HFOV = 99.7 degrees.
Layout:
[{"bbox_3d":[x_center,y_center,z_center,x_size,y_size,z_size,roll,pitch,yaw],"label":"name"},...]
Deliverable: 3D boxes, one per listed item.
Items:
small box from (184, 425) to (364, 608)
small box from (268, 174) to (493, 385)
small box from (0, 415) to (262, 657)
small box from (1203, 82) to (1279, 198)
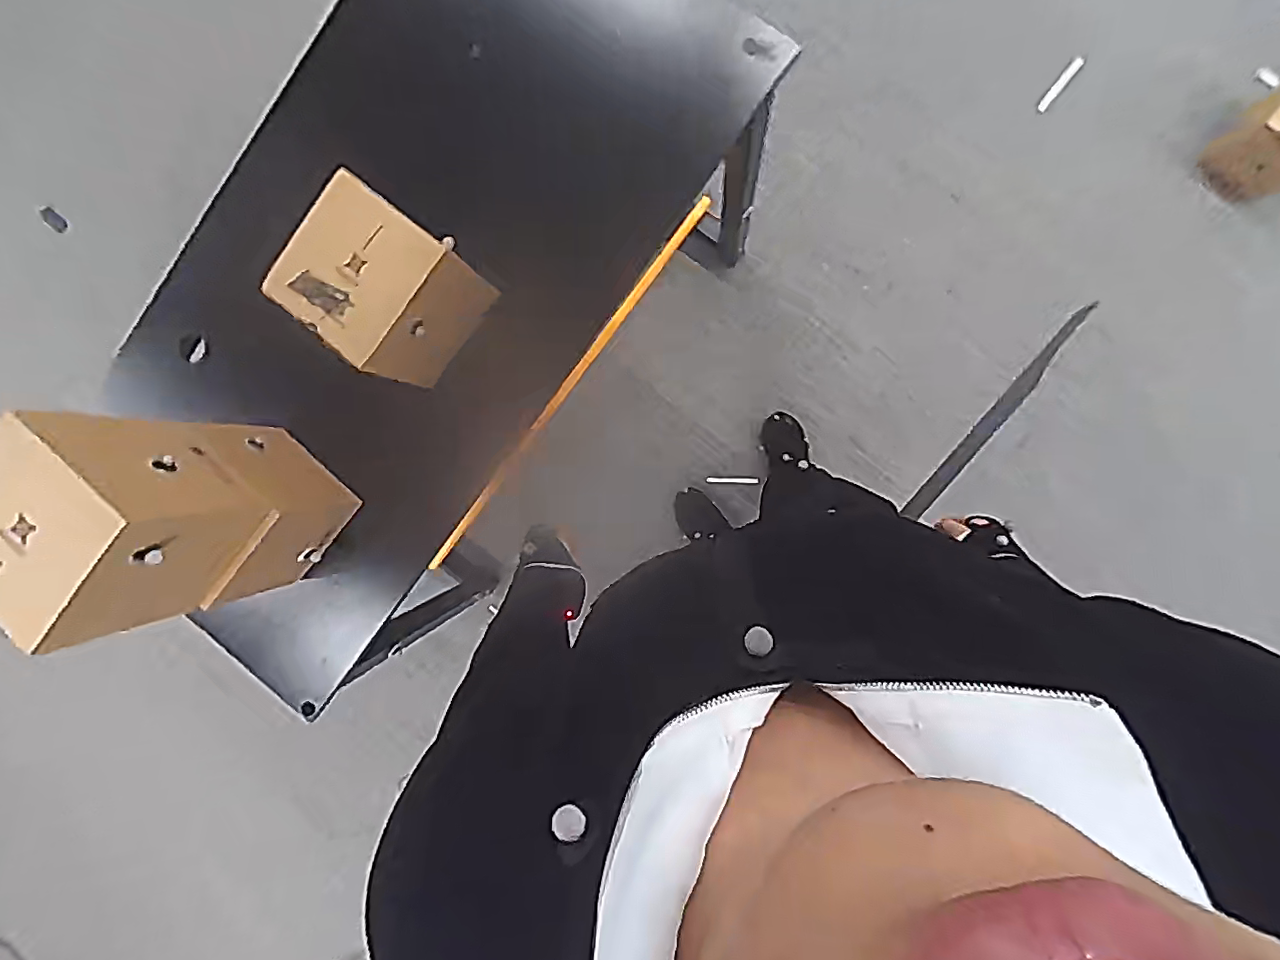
[{"bbox_3d":[-0.538,0.044,0.754,0.179,0.176,0.168,40,97,3],"label":"small box"},{"bbox_3d":[-0.326,-0.247,0.716,0.168,0.176,0.179,38,95,4],"label":"small box"},{"bbox_3d":[-0.566,0.050,0.591,0.168,0.176,0.179,41,97,4],"label":"small box"},{"bbox_3d":[1.453,-0.784,1.221,0.168,0.176,0.179,40,97,3],"label":"small box"}]
